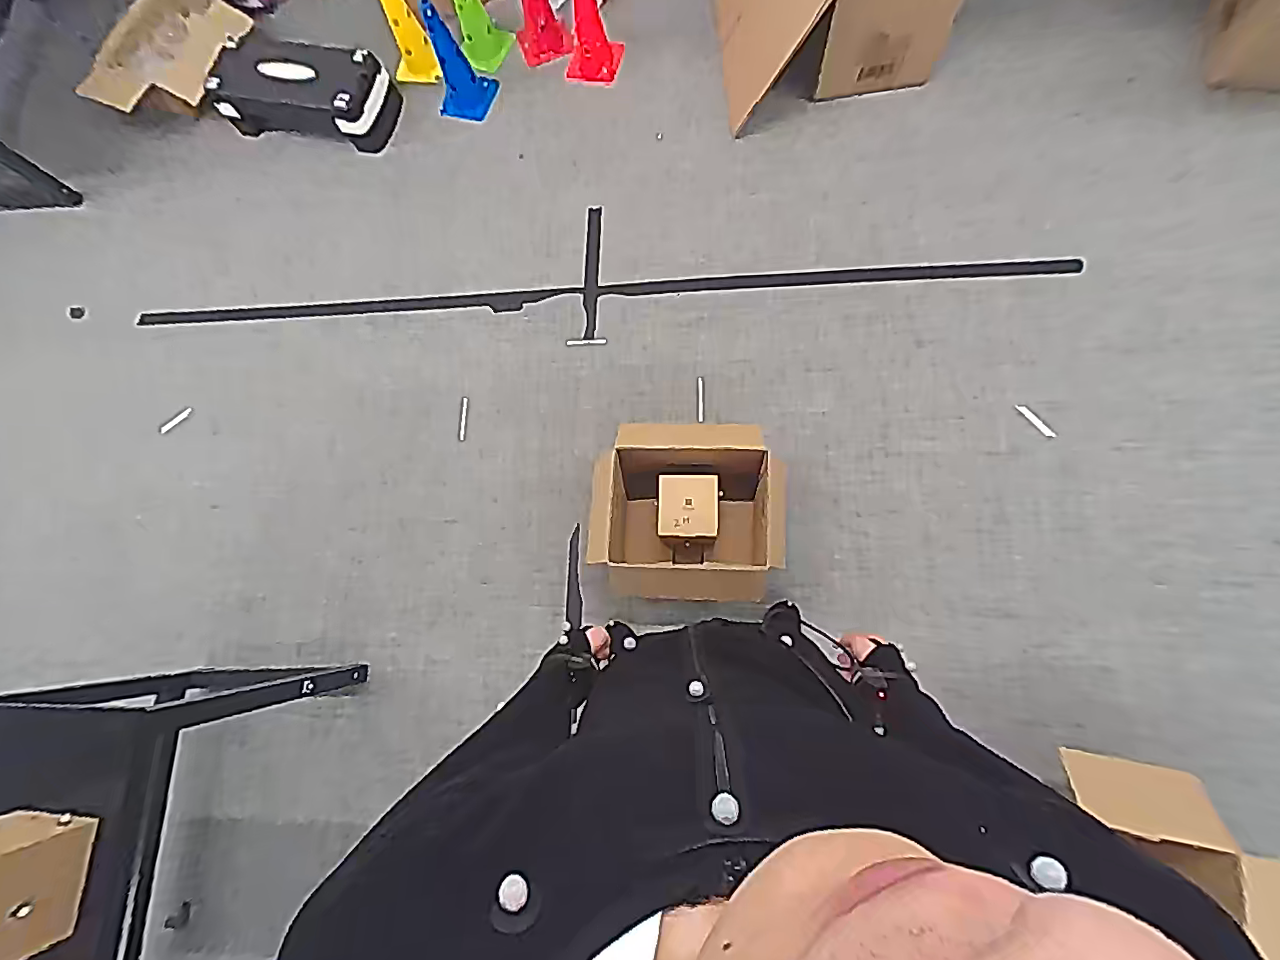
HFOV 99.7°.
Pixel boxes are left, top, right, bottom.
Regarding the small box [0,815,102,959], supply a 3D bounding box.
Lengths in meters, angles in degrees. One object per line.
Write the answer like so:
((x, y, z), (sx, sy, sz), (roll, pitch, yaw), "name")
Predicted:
((-1.019, 0.658, 0.854), (0.168, 0.176, 0.179), (1, 79, 7), "small box")
